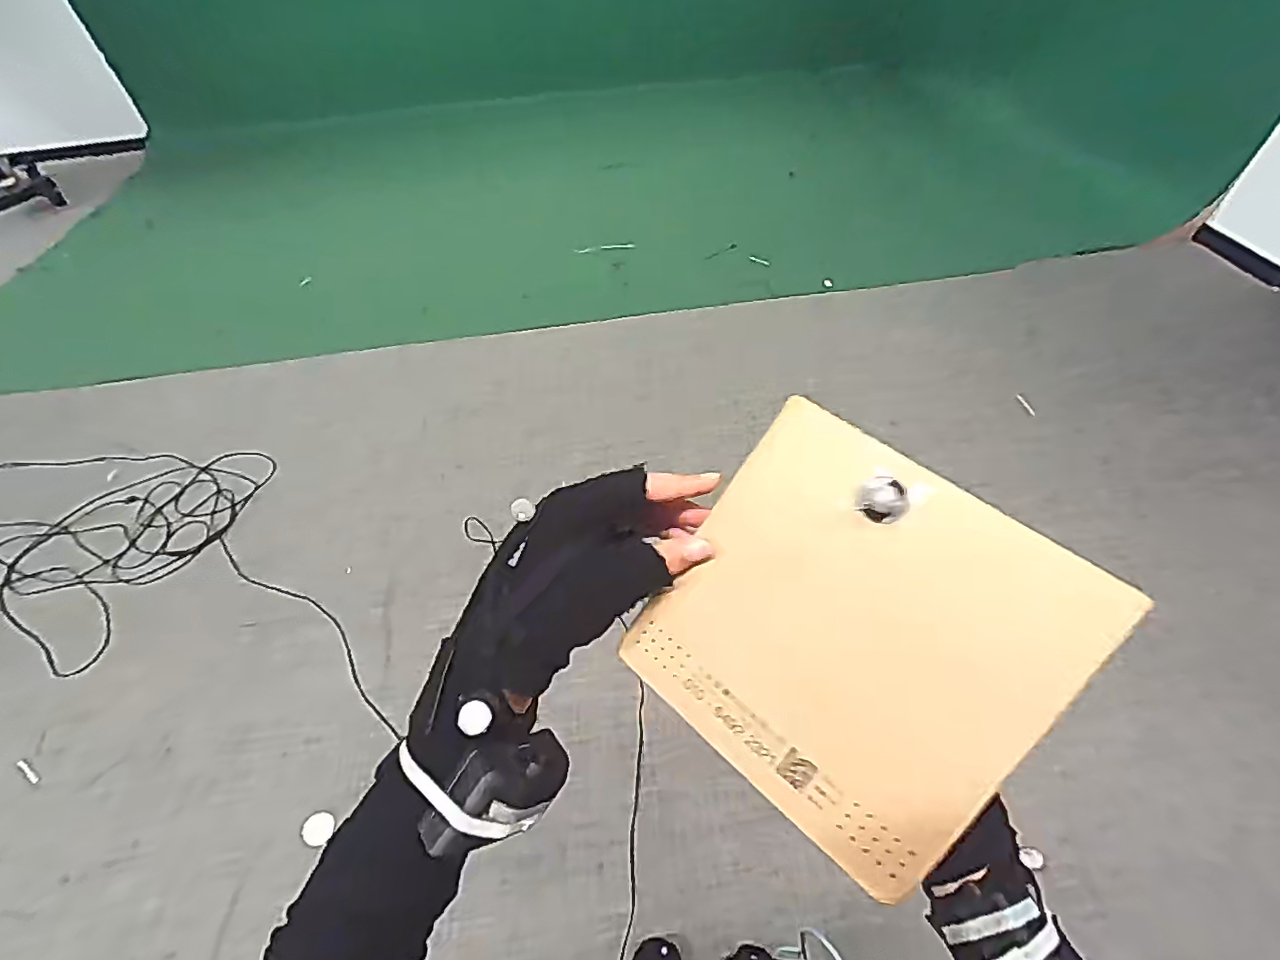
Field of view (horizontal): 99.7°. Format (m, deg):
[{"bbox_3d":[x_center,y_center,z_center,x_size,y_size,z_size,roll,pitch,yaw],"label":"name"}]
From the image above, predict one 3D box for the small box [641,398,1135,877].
[{"bbox_3d":[0.127,0.081,0.334,0.168,0.179,0.176,37,96,23],"label":"small box"}]
